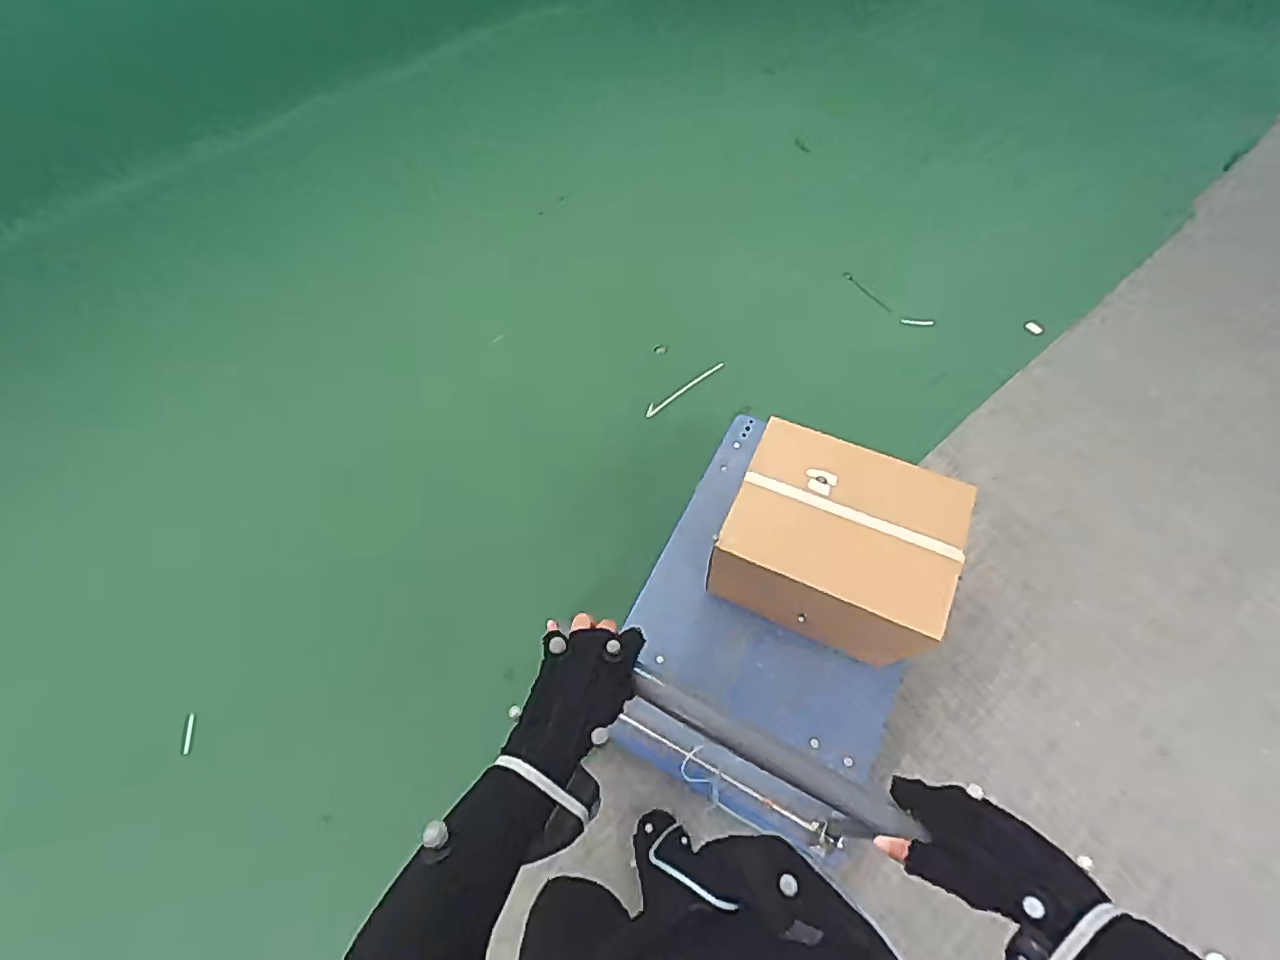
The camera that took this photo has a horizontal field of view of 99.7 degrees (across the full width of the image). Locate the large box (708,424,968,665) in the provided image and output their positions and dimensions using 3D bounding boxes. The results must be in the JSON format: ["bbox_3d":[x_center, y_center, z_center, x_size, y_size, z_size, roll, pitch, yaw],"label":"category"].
[{"bbox_3d":[0.385,0.142,1.130,0.408,0.320,0.320,22,66,16],"label":"large box"}]
